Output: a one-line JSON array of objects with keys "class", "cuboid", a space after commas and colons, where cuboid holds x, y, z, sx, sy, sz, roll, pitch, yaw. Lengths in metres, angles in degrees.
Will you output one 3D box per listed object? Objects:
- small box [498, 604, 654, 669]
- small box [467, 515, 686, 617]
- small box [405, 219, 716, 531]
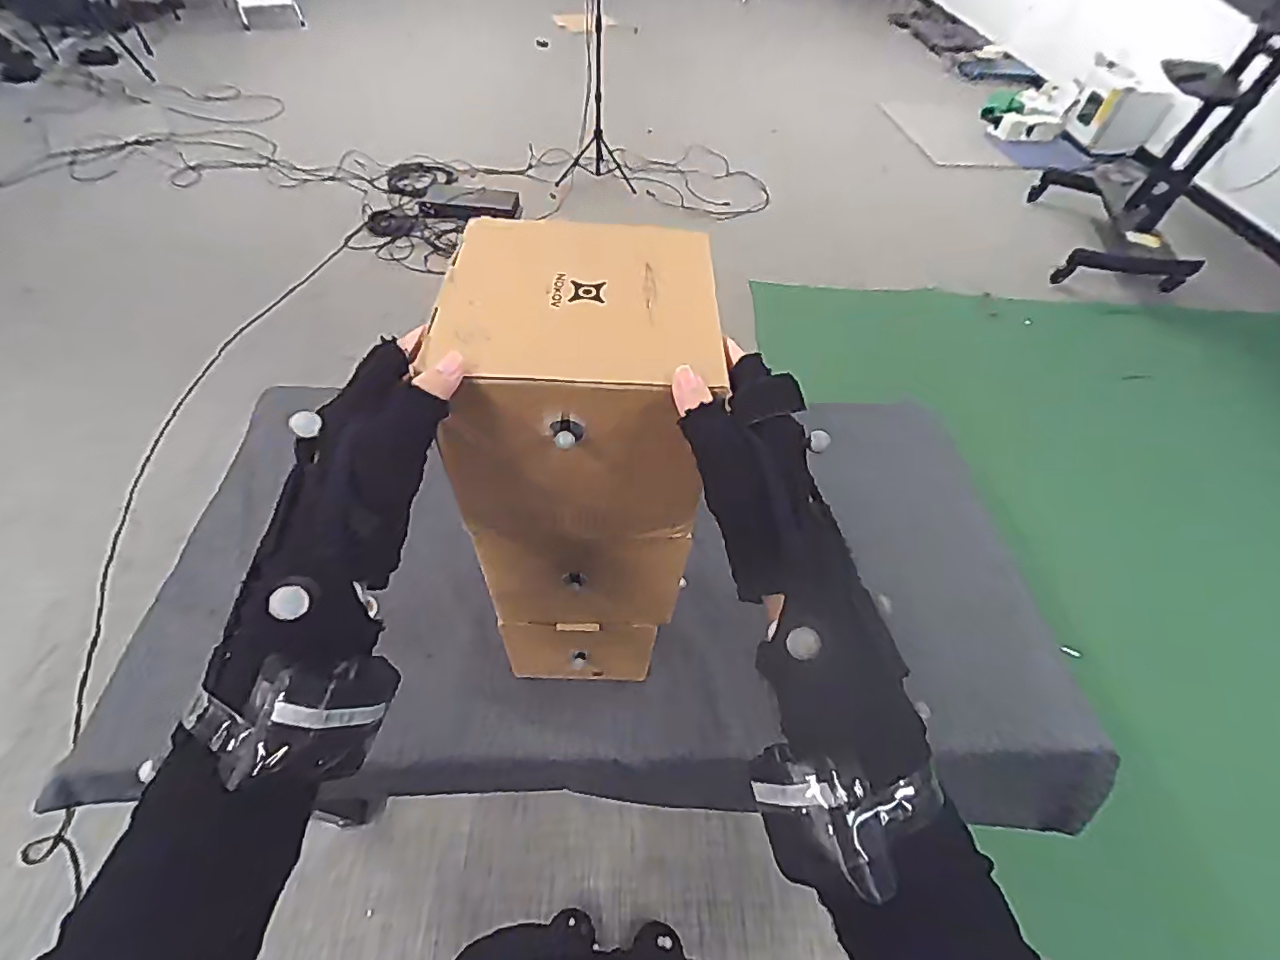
[{"class": "small box", "cuboid": [-0.068, 0.125, 0.671, 0.168, 0.176, 0.179, 1, 53, -3]}, {"class": "small box", "cuboid": [-0.054, 0.027, 0.539, 0.179, 0.176, 0.168, 0, 52, -2]}, {"class": "small box", "cuboid": [-0.047, -0.072, 0.409, 0.179, 0.176, 0.168, 1, 54, -3]}]
